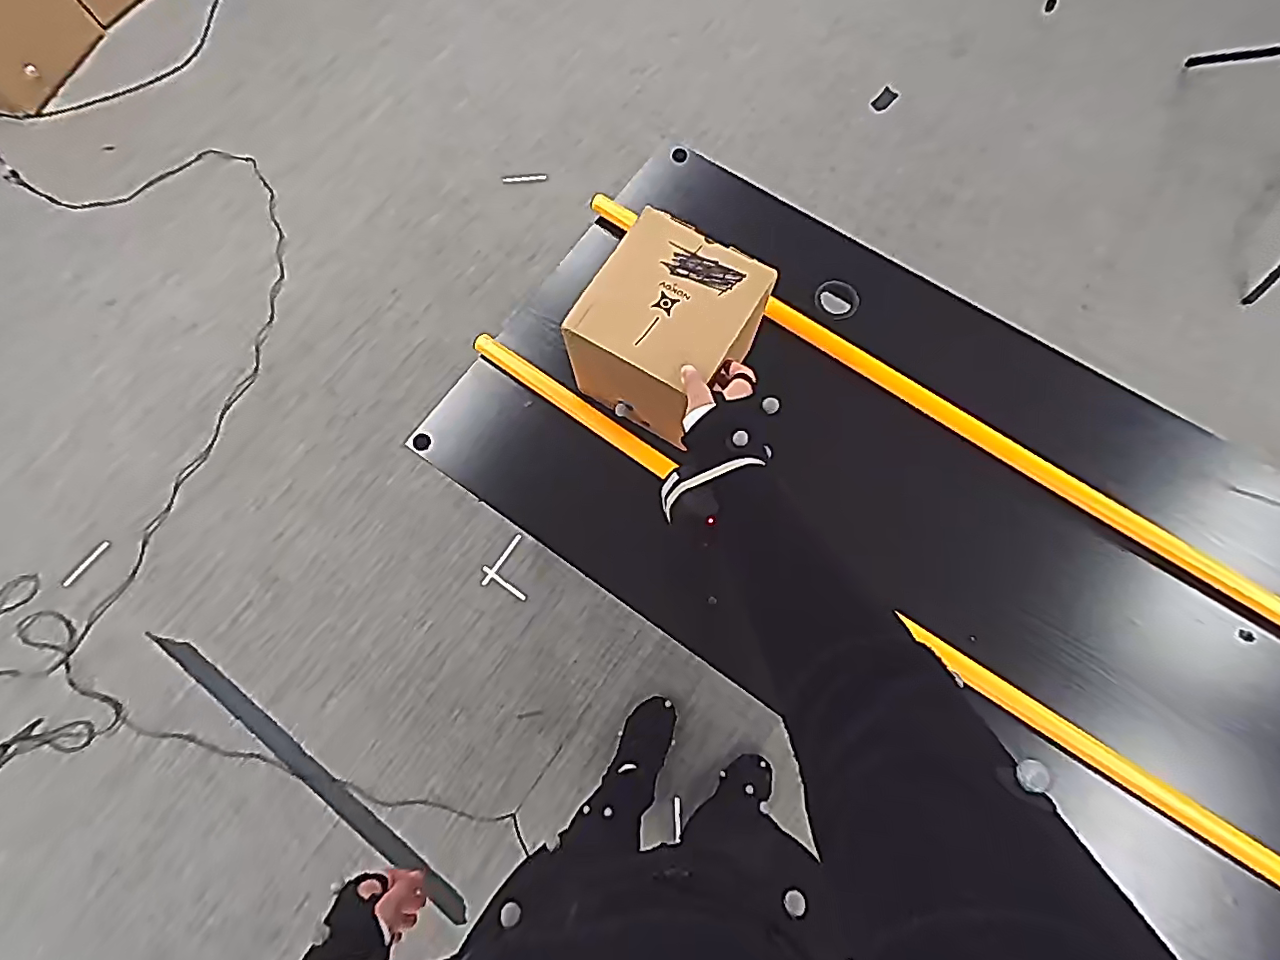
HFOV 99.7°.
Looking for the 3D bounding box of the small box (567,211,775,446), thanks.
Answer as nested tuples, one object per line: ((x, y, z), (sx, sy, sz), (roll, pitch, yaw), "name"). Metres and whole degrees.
((0.034, -0.171, 0.653), (0.168, 0.176, 0.179), (30, 78, 9), "small box")
